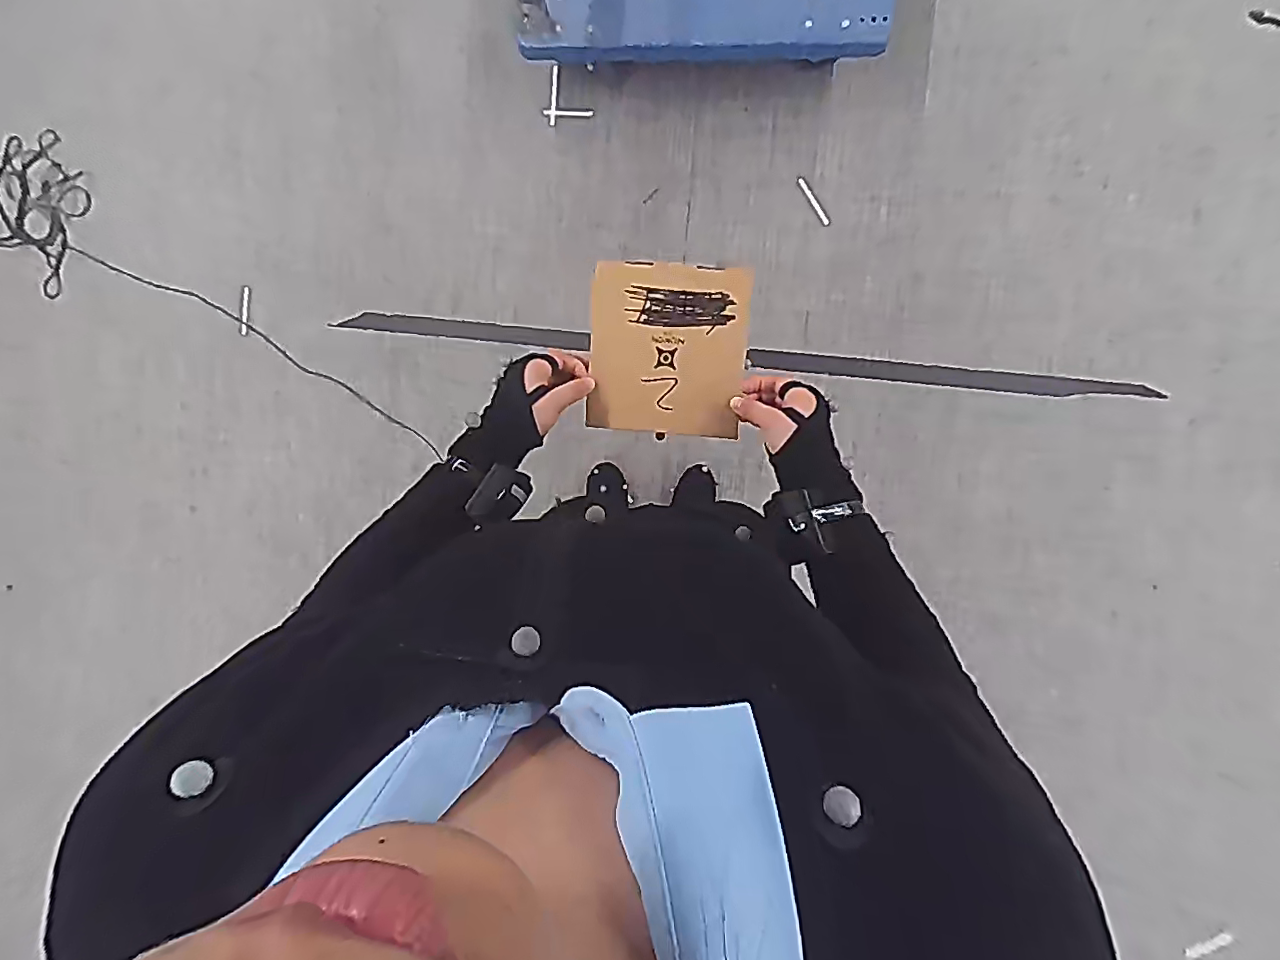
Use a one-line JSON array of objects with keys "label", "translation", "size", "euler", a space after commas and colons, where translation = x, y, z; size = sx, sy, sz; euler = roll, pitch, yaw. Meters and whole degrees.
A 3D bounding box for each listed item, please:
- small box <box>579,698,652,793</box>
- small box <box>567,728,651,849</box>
[{"label": "small box", "translation": [-0.059, 0.710, 1.451], "size": [0.168, 0.176, 0.179], "euler": [-6, 92, 5]}, {"label": "small box", "translation": [-0.068, 0.726, 1.289], "size": [0.168, 0.176, 0.179], "euler": [6, 93, 5]}]
